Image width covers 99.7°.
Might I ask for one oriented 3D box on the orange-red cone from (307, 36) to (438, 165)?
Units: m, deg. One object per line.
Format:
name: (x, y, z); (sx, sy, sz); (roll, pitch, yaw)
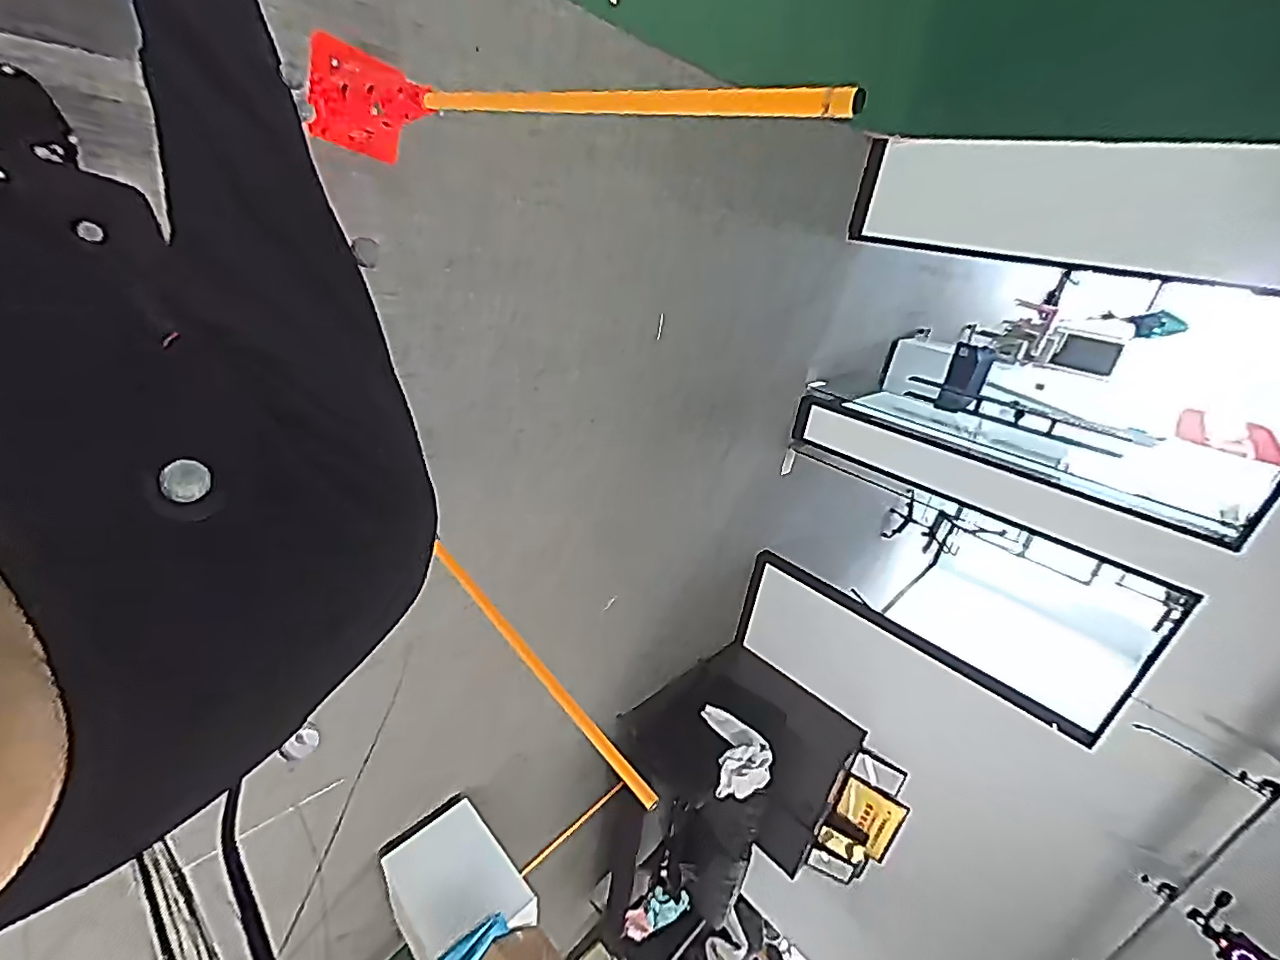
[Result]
orange-red cone: (-0.519, -0.783, 1.123); (0.198, 0.360, 0.199); (-3, 116, -48)
